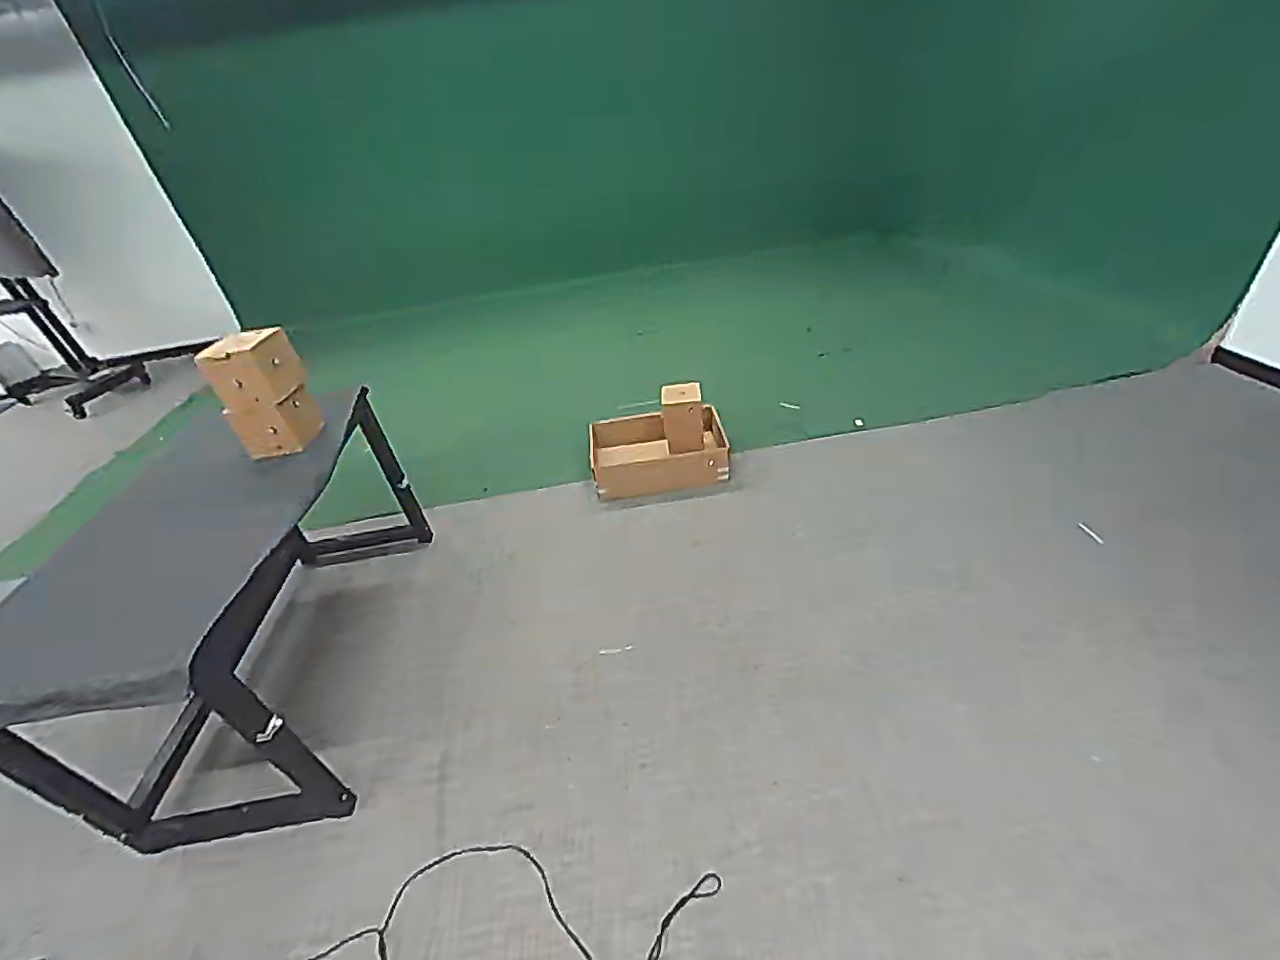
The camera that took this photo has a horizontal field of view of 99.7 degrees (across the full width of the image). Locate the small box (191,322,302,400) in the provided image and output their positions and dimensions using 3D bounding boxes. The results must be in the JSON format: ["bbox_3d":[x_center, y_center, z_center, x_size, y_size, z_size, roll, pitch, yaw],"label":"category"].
[{"bbox_3d":[-1.139,-0.344,1.586,0.168,0.176,0.179,-6,37,4],"label":"small box"}]

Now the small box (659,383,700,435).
[{"bbox_3d":[0.180,-0.320,2.440,0.179,0.176,0.168,-4,37,6],"label":"small box"}]

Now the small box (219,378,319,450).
[{"bbox_3d":[-1.135,-0.204,1.674,0.168,0.176,0.179,-7,36,1],"label":"small box"}]

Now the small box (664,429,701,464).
[{"bbox_3d":[0.199,-0.194,2.544,0.168,0.176,0.179,-5,39,6],"label":"small box"}]
